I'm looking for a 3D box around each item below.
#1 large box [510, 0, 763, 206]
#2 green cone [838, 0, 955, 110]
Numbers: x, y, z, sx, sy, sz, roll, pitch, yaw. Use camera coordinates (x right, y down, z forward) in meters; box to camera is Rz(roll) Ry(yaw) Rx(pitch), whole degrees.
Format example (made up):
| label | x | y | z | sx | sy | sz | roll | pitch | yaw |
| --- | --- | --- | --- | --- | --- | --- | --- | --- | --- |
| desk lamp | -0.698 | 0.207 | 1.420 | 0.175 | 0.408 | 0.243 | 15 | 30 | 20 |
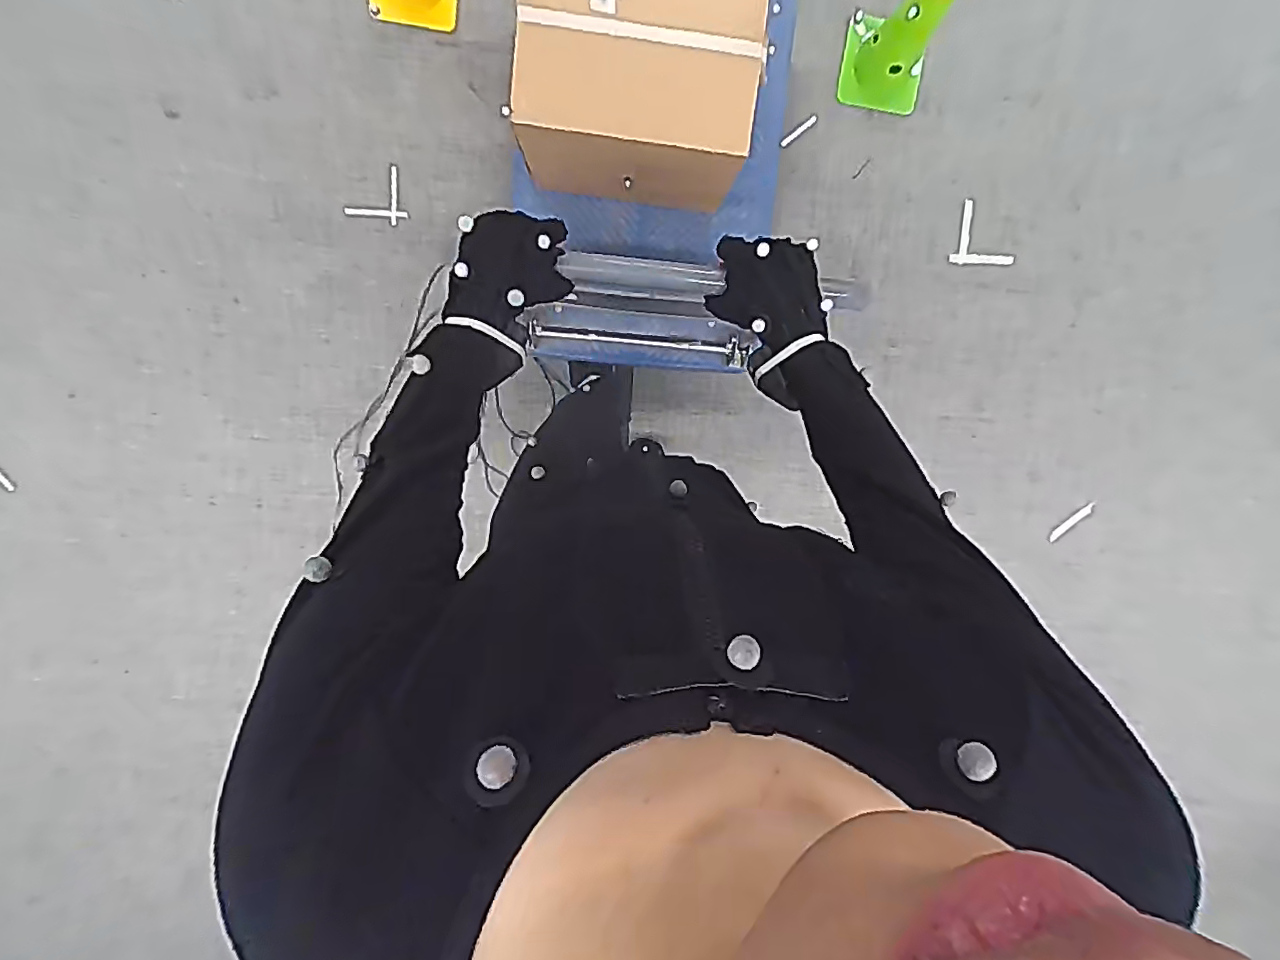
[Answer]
| label | x | y | z | sx | sy | sz | roll | pitch | yaw |
| --- | --- | --- | --- | --- | --- | --- | --- | --- | --- |
| large box | -0.007 | -0.749 | 1.027 | 0.408 | 0.320 | 0.320 | 6 | 99 | -3 |
| green cone | 0.606 | -1.006 | 1.161 | 0.202 | 0.368 | 0.200 | 7 | 99 | -5 |
